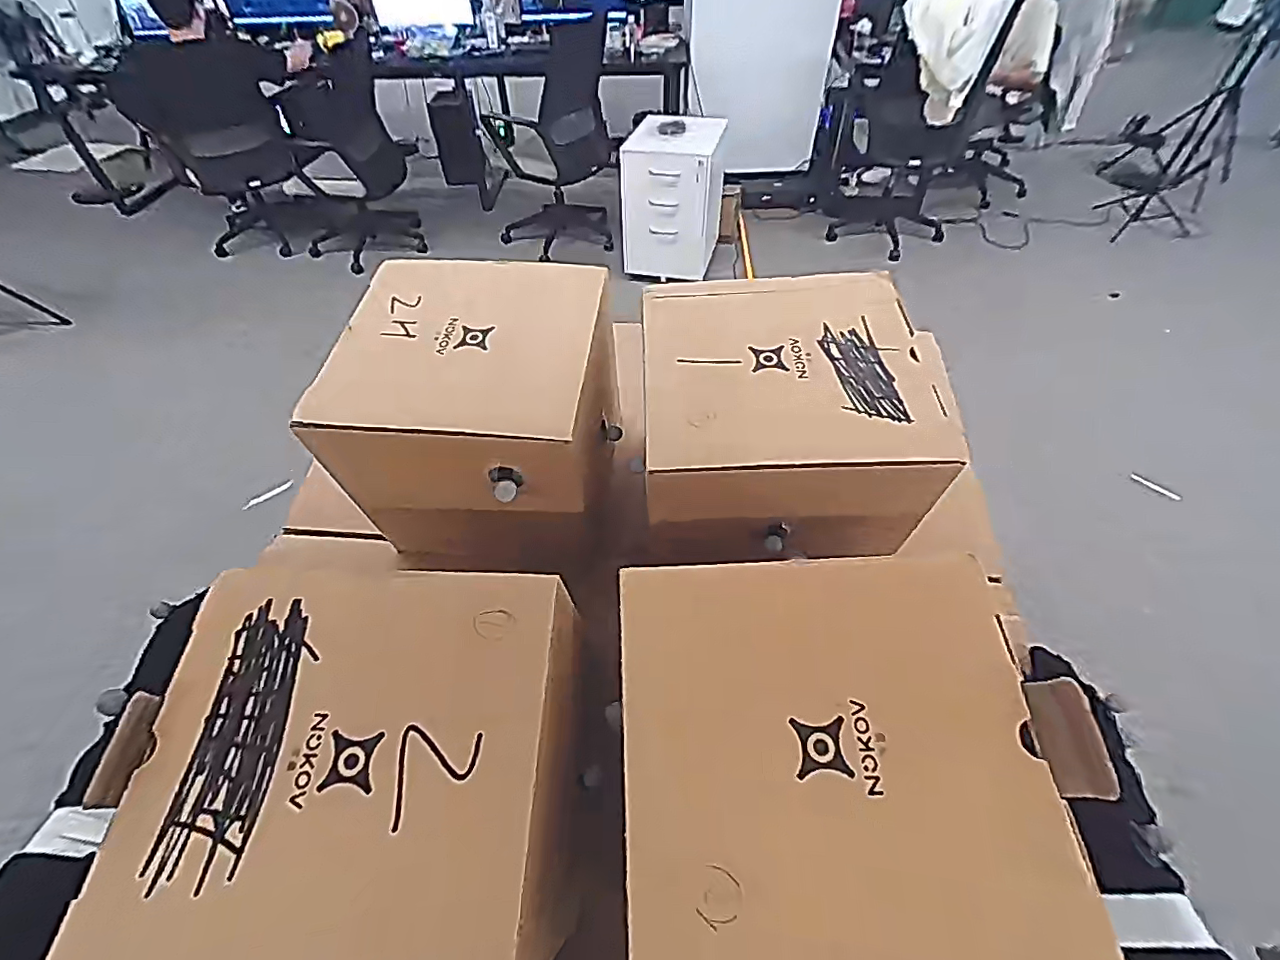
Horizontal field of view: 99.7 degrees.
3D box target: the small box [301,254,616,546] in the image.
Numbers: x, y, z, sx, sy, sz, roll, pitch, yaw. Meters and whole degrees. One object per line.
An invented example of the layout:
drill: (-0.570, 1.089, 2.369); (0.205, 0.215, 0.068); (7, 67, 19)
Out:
small box: (-0.117, -0.058, 0.443); (0.179, 0.176, 0.168); (4, 56, 5)
